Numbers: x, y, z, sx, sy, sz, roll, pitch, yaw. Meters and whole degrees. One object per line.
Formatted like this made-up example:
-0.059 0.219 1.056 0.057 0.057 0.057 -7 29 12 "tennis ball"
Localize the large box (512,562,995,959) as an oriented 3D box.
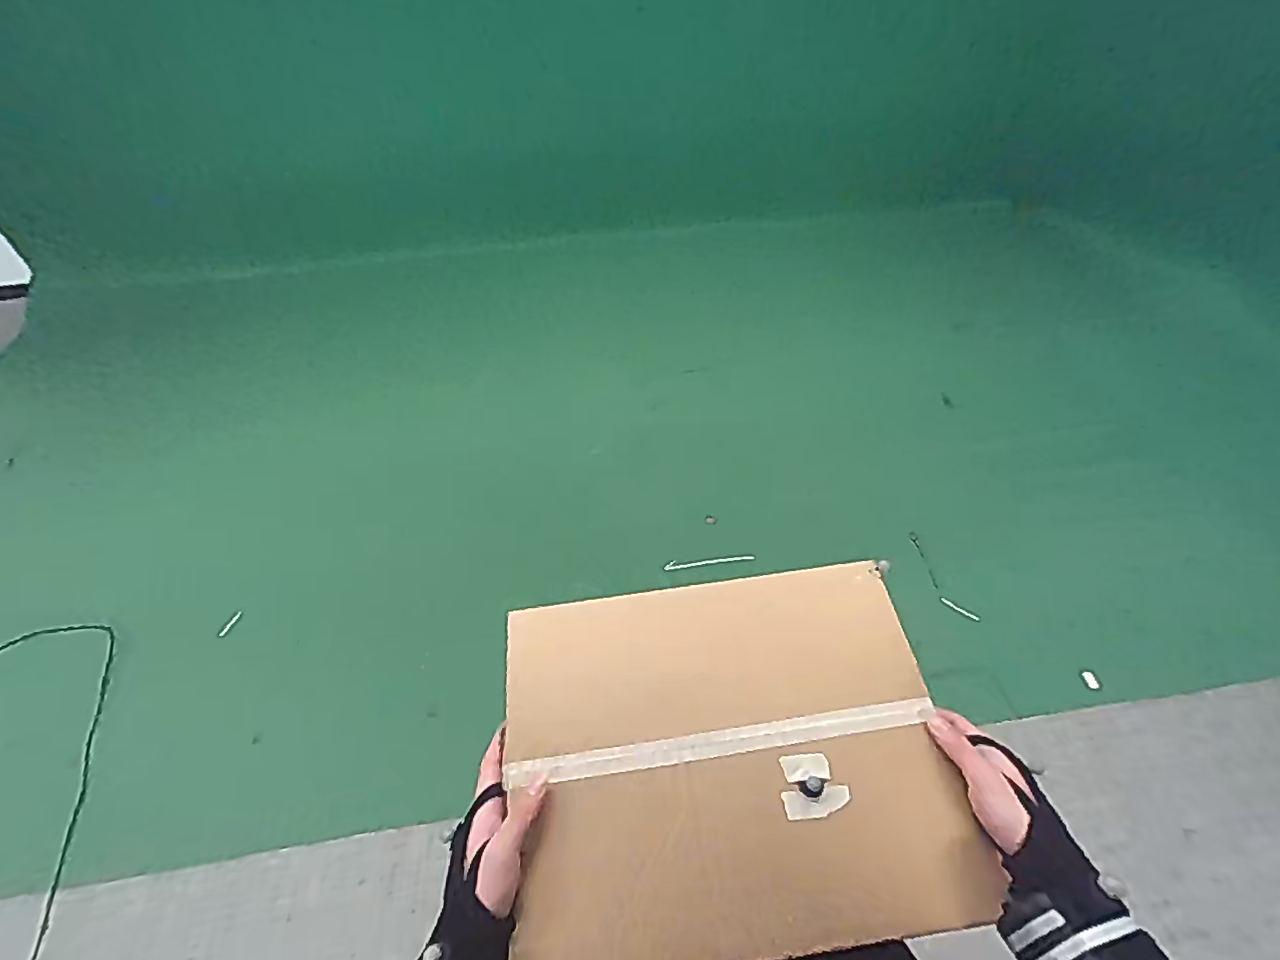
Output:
0.083 0.330 0.641 0.408 0.320 0.320 -8 57 -3 "large box"
